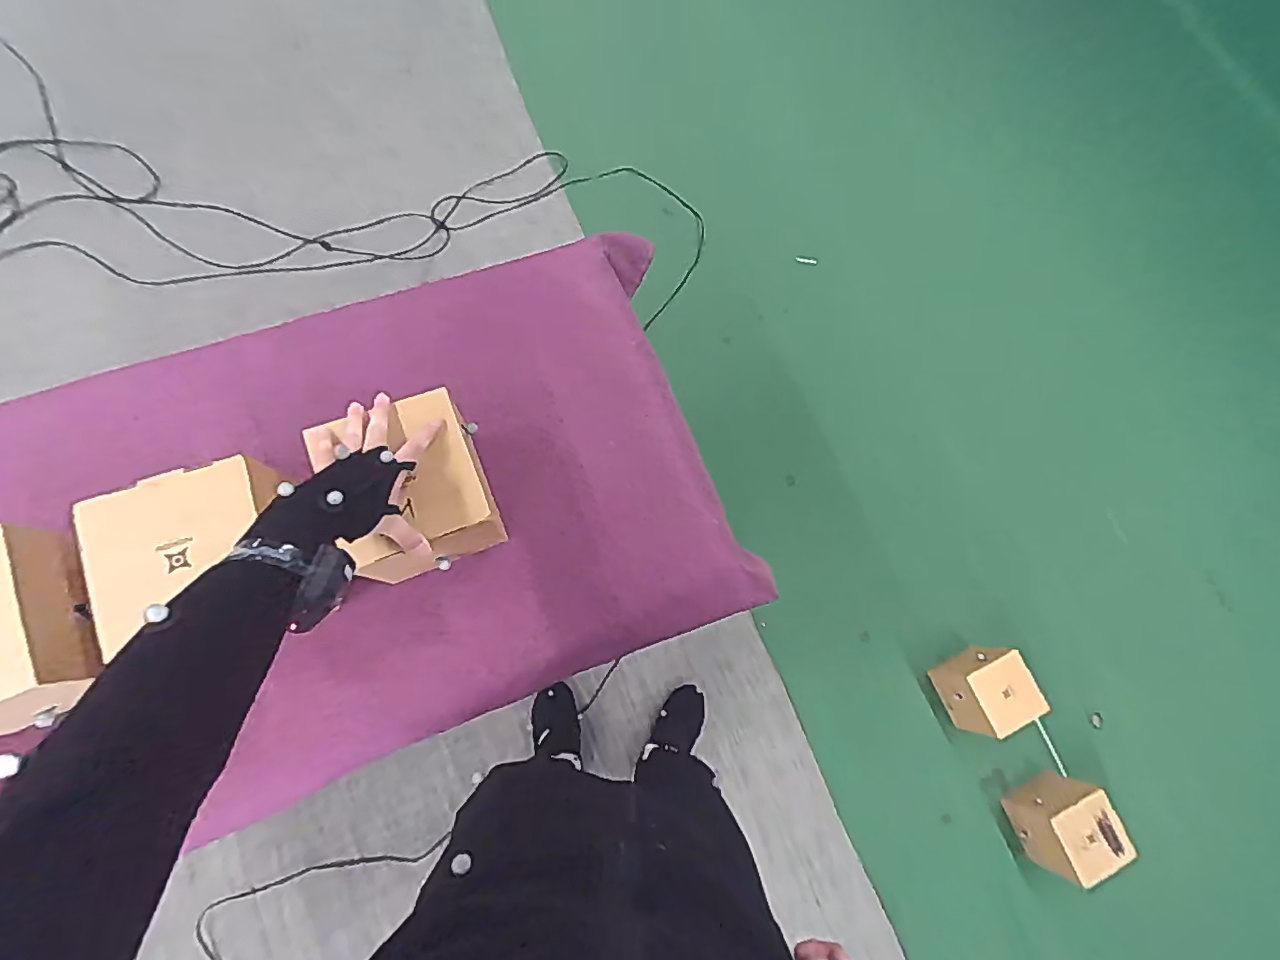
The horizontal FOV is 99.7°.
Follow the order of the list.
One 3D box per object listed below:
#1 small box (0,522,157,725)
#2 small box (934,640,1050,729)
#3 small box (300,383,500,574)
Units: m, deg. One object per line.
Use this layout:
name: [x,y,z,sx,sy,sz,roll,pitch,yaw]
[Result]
small box: [-0.700,0.167,0.601,0.168,0.176,0.179,-23,81,-12]
small box: [0.934,0.545,1.459,0.179,0.176,0.168,-22,79,-13]
small box: [-0.292,0.008,0.692,0.168,0.176,0.179,-21,79,-11]
